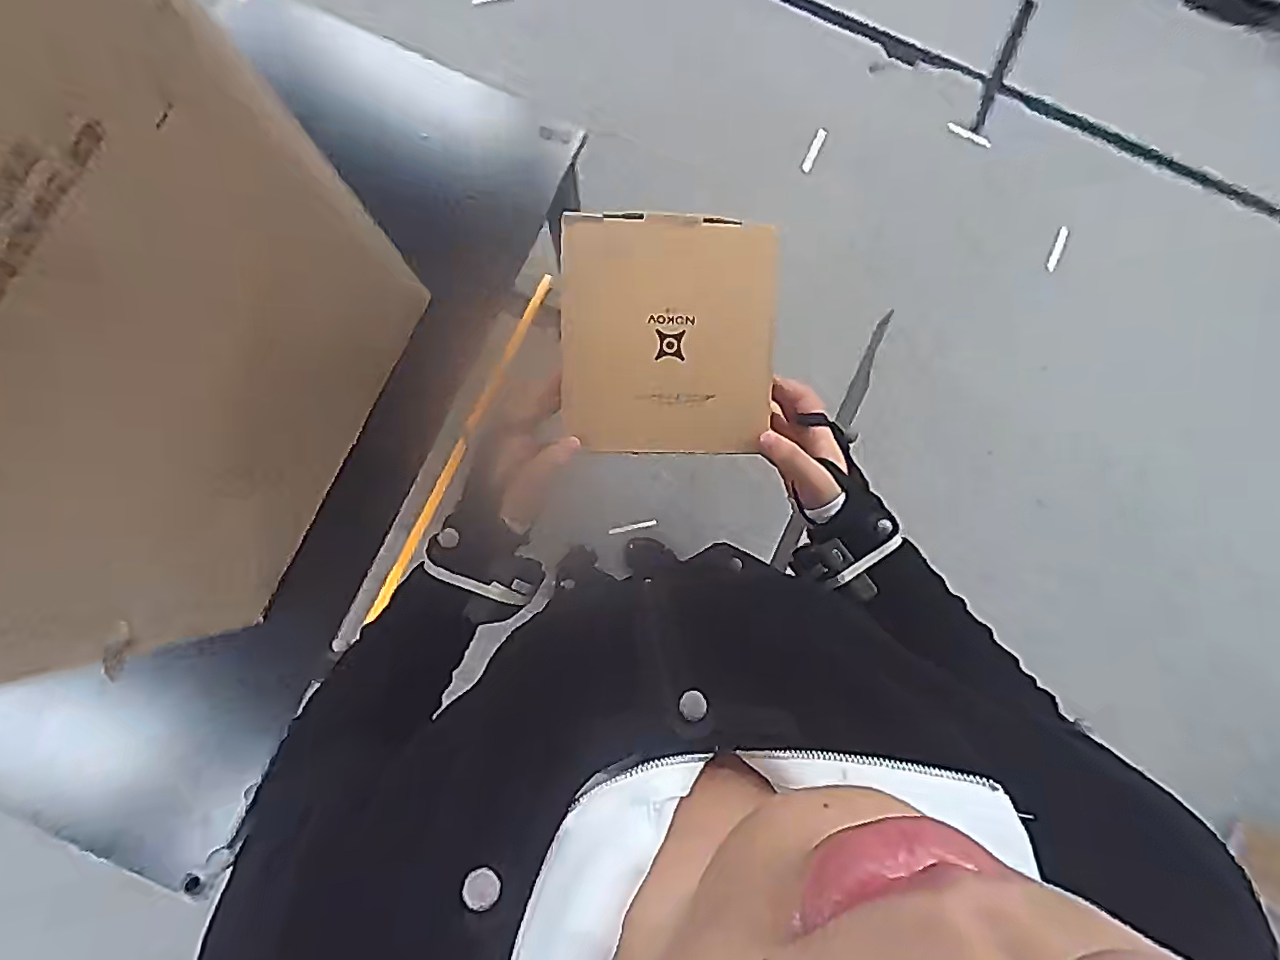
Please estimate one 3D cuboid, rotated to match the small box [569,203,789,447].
[{"bbox_3d":[0.022,-0.129,0.491,0.168,0.176,0.179,1,101,-5],"label":"small box"}]
